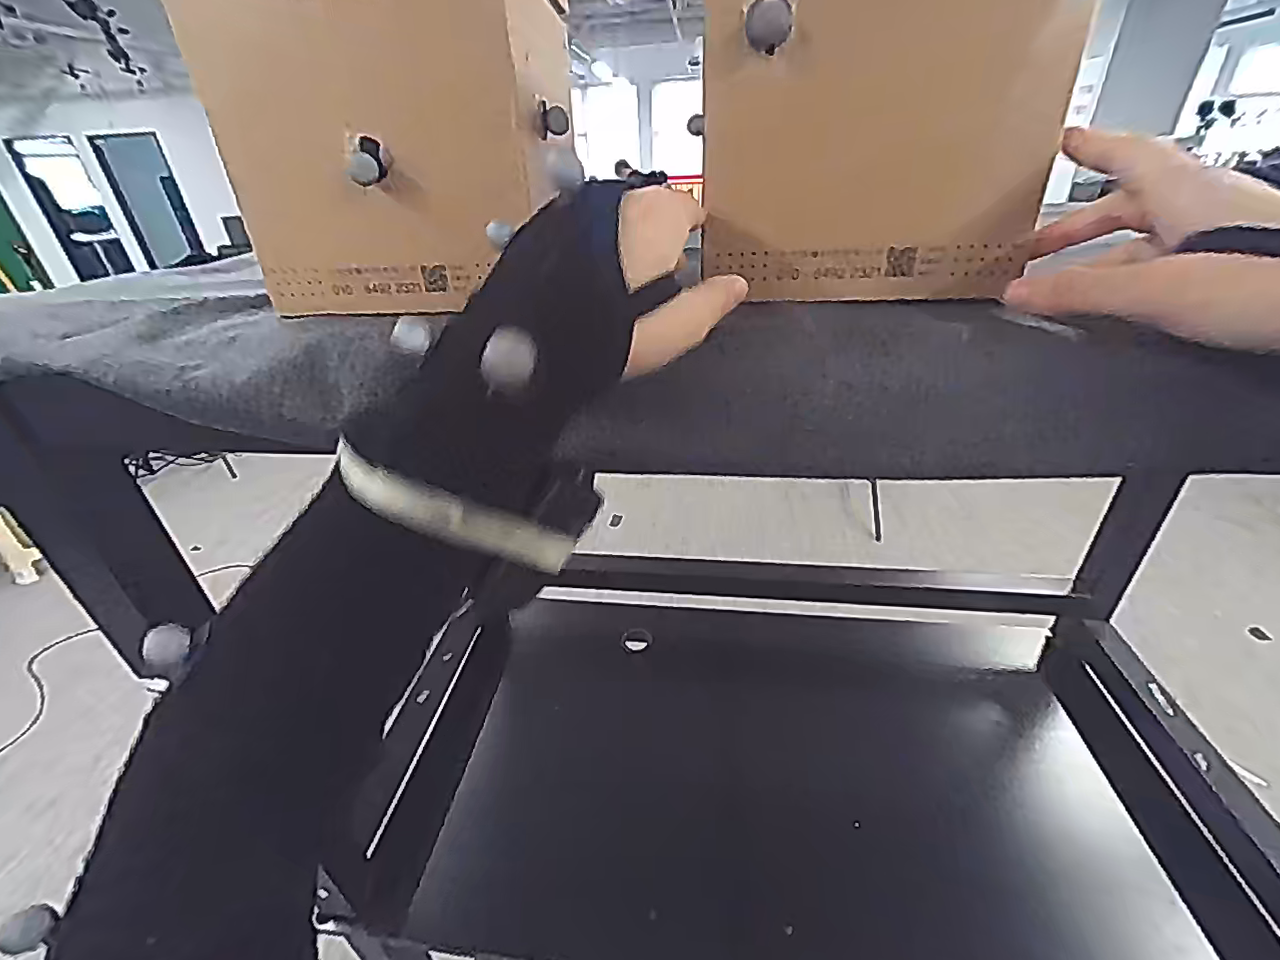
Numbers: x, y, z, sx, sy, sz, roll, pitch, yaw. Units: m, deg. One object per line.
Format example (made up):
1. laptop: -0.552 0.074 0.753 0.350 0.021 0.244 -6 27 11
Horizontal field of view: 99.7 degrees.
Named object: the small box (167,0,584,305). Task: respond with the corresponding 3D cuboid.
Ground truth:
1. small box: -0.132 -0.215 0.351 0.168 0.176 0.179 0 30 3
